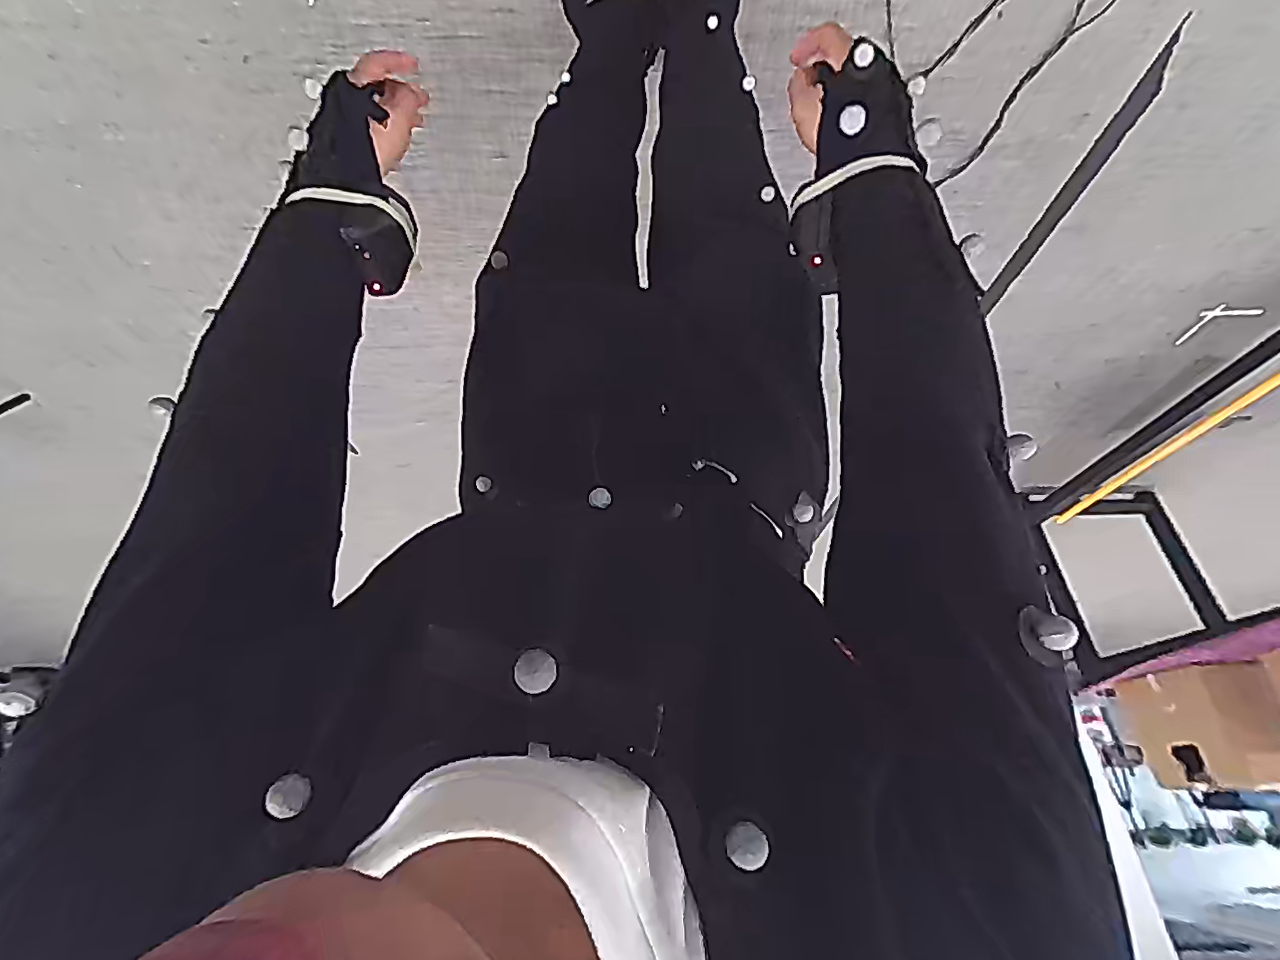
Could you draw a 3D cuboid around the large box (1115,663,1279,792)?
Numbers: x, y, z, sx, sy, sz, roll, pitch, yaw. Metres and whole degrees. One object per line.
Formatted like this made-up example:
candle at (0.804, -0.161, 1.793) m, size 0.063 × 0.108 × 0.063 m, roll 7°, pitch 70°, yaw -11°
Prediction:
large box at (1.770, 0.732, 1.594) m, size 0.408 × 0.320 × 0.320 m, roll -2°, pitch 150°, yaw -1°
